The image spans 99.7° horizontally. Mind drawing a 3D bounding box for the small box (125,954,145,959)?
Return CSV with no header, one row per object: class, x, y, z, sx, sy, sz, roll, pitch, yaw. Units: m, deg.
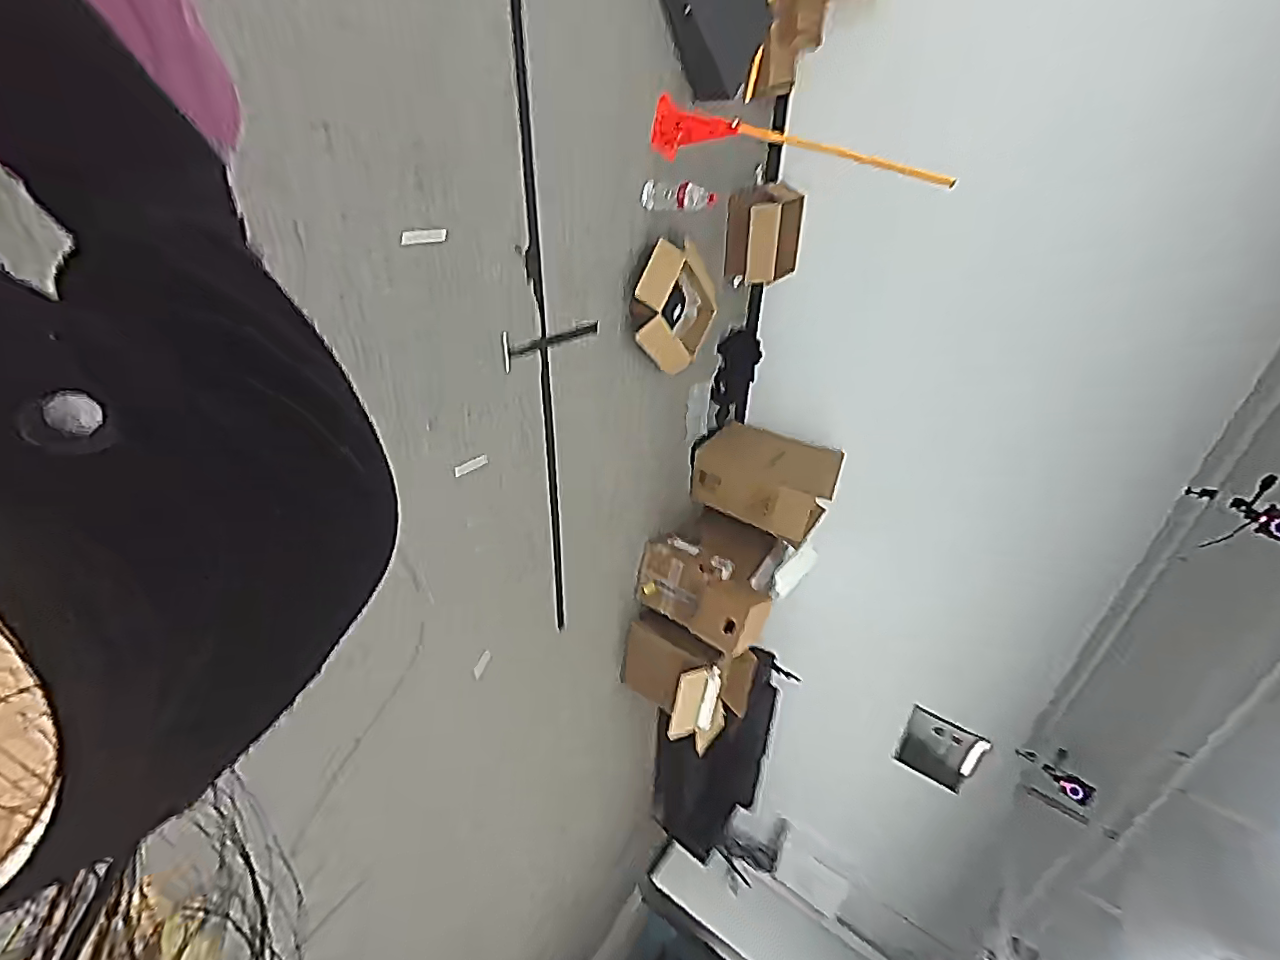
small box,-1.441,1.474,1.493,0.168,0.176,0.179,-31,134,-46
